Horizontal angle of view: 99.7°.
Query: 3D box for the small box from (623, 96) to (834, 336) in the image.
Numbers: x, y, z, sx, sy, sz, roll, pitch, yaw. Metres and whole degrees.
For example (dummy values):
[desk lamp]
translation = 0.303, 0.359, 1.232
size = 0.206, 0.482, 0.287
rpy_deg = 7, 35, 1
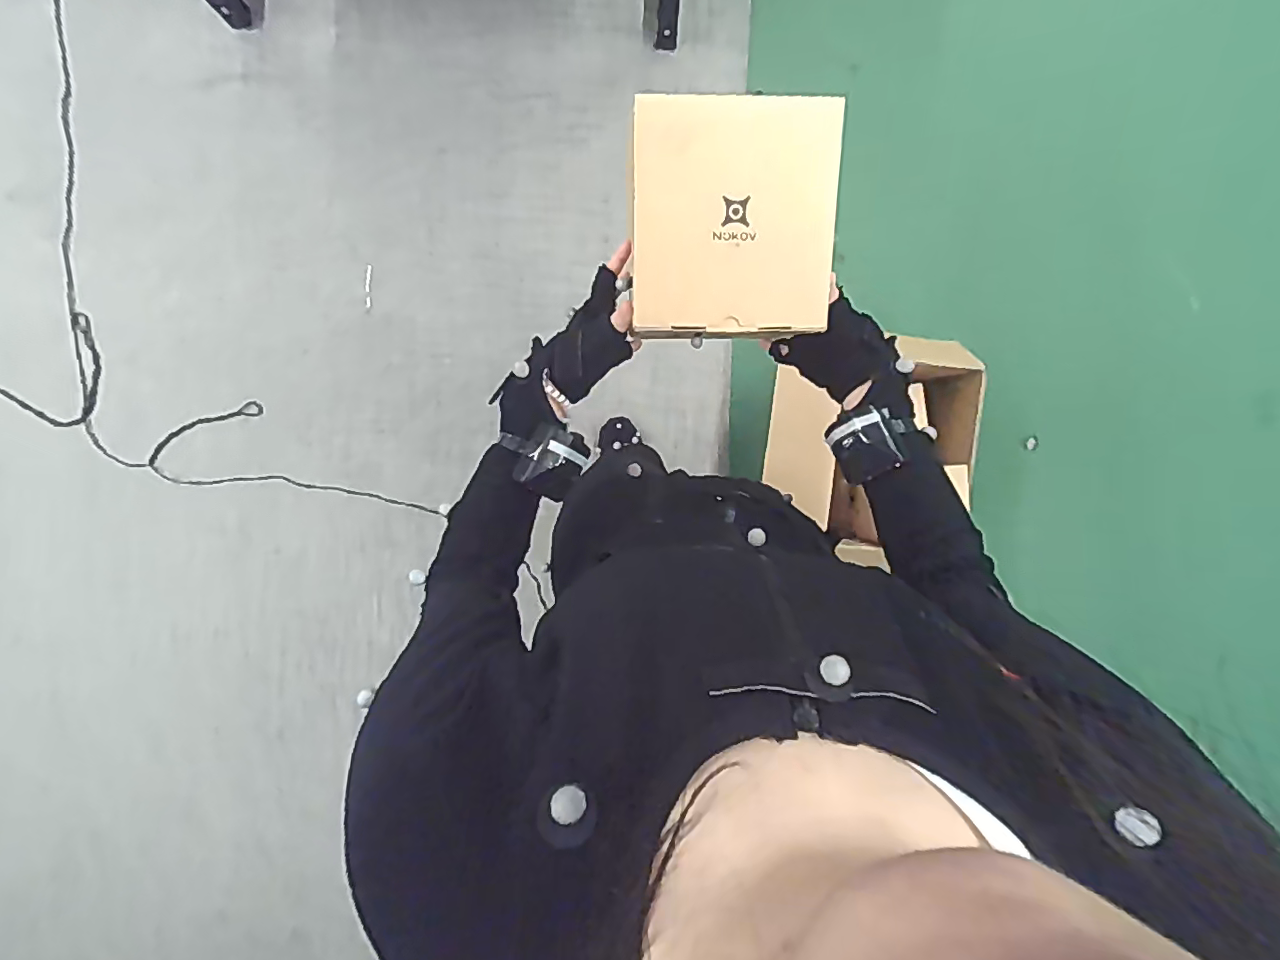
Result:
[small box]
translation = 0.069, -0.233, 0.522
size = 0.168, 0.176, 0.179
rpy_deg = 0, 104, -3
